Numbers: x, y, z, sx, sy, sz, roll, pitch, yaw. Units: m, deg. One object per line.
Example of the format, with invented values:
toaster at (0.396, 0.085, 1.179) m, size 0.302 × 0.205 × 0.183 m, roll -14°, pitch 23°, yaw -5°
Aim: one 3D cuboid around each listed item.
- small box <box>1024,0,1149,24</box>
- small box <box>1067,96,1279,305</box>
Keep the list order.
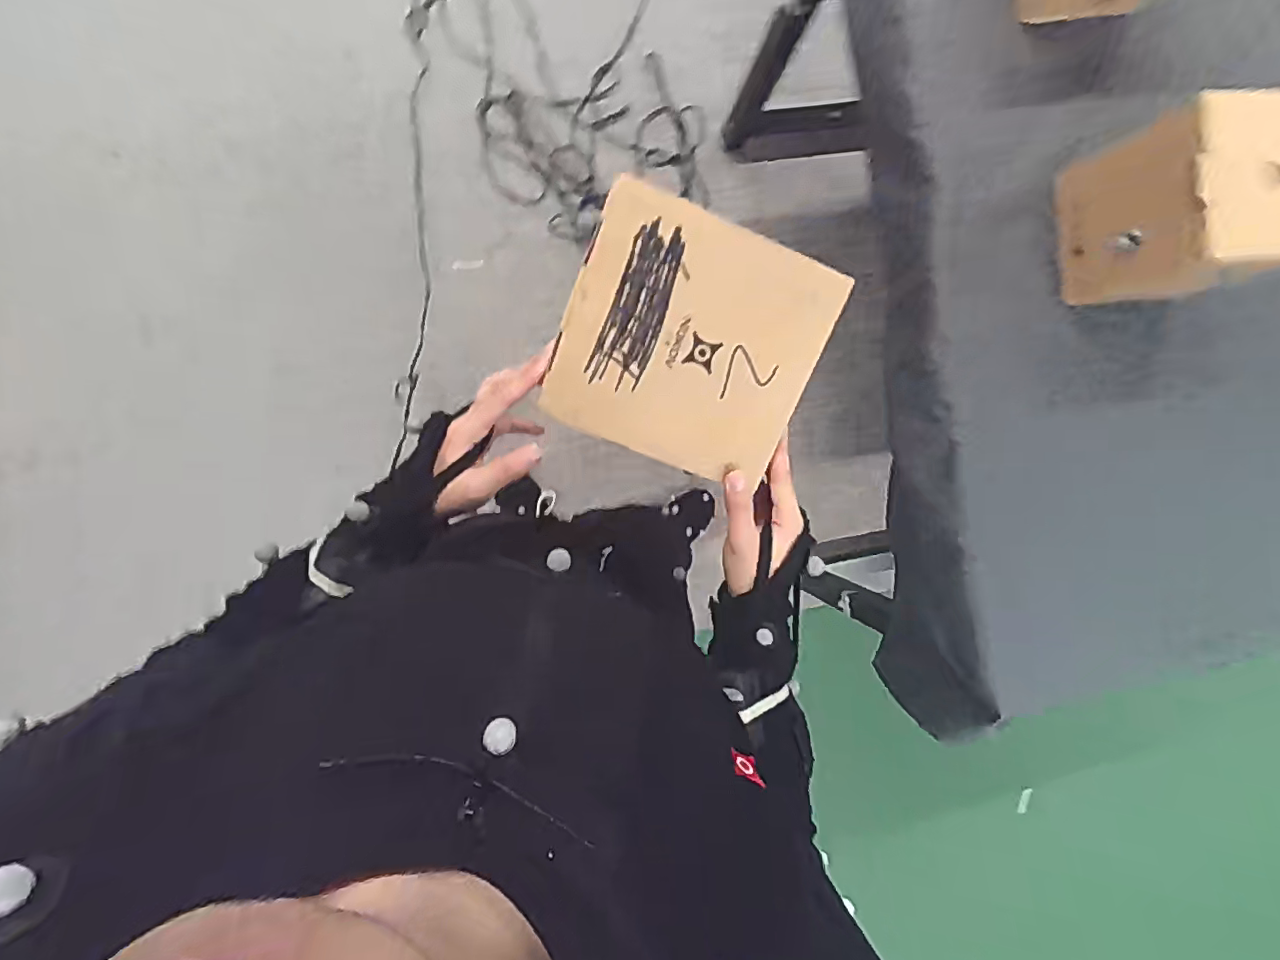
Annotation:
small box at (0.557, -0.666, 0.602) m, size 0.168 × 0.176 × 0.179 m, roll -11°, pitch 95°, yaw -7°
small box at (0.640, -0.309, 0.630) m, size 0.179 × 0.176 × 0.168 m, roll -6°, pitch 94°, yaw -9°
